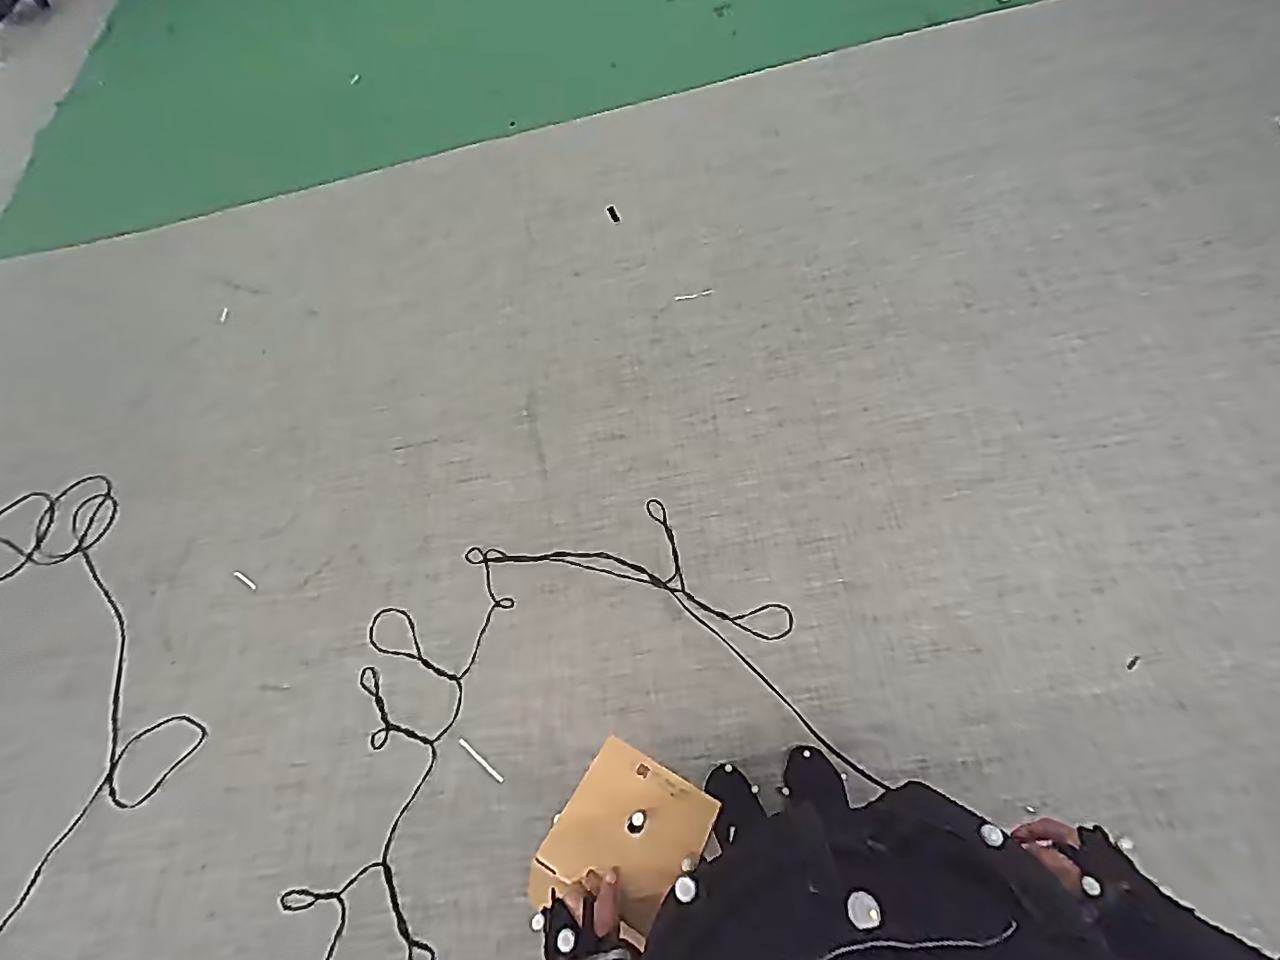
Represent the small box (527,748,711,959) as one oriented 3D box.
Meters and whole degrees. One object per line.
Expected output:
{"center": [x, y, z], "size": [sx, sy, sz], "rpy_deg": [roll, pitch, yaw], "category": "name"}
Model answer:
{"center": [-0.023, 0.483, 0.685], "size": [0.168, 0.179, 0.176], "rpy_deg": [24, 38, 16], "category": "small box"}
